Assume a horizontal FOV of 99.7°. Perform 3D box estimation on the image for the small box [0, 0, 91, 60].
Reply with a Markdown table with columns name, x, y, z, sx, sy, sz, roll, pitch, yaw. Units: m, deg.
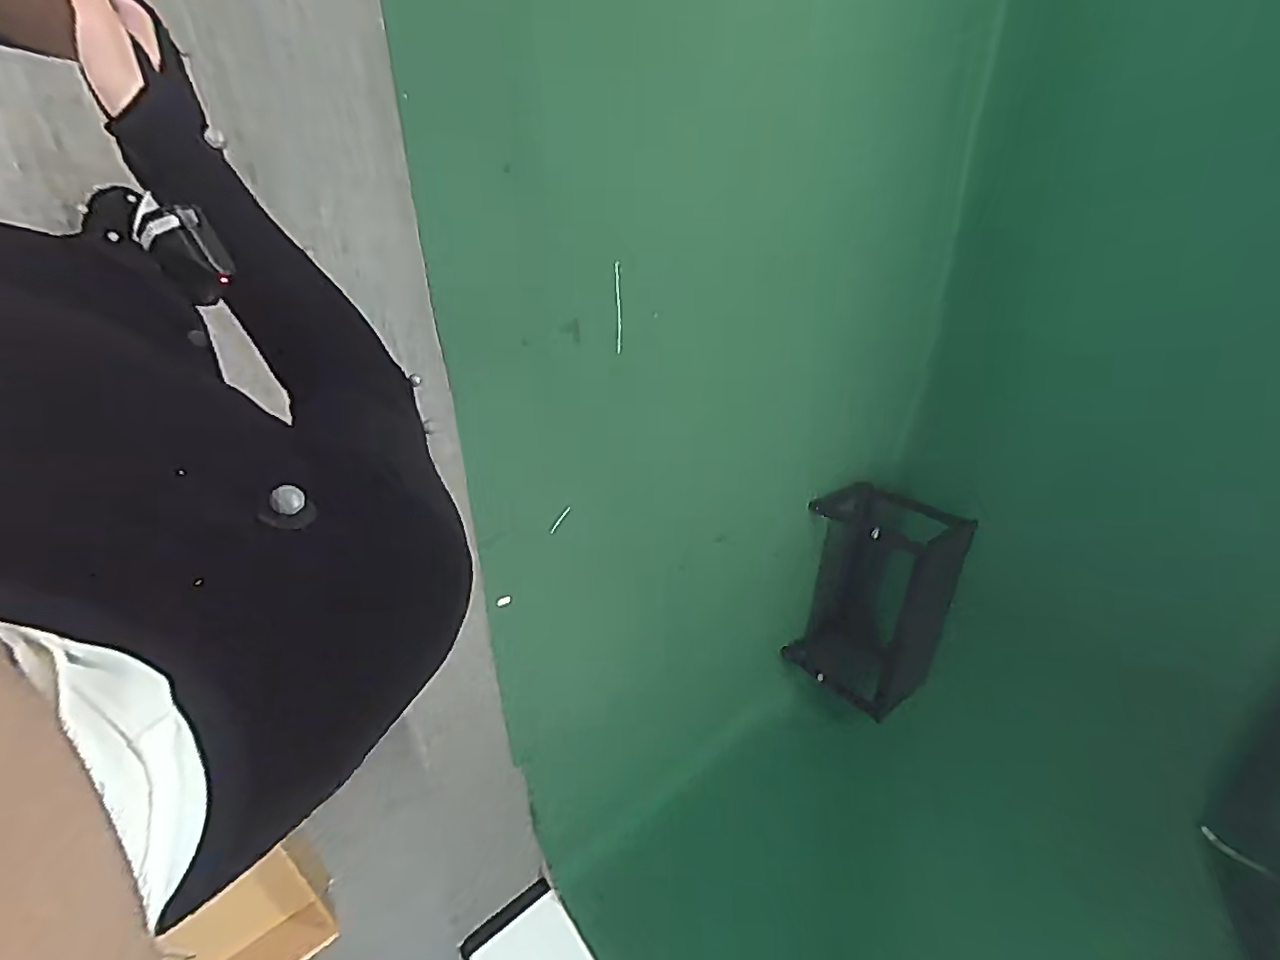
| name | x | y | z | sx | sy | sz | roll | pitch | yaw |
| --- | --- | --- | --- | --- | --- | --- | --- | --- | --- |
| small box | -0.500 | -0.430 | 0.356 | 0.168 | 0.176 | 0.179 | -14 | 109 | -40 |
